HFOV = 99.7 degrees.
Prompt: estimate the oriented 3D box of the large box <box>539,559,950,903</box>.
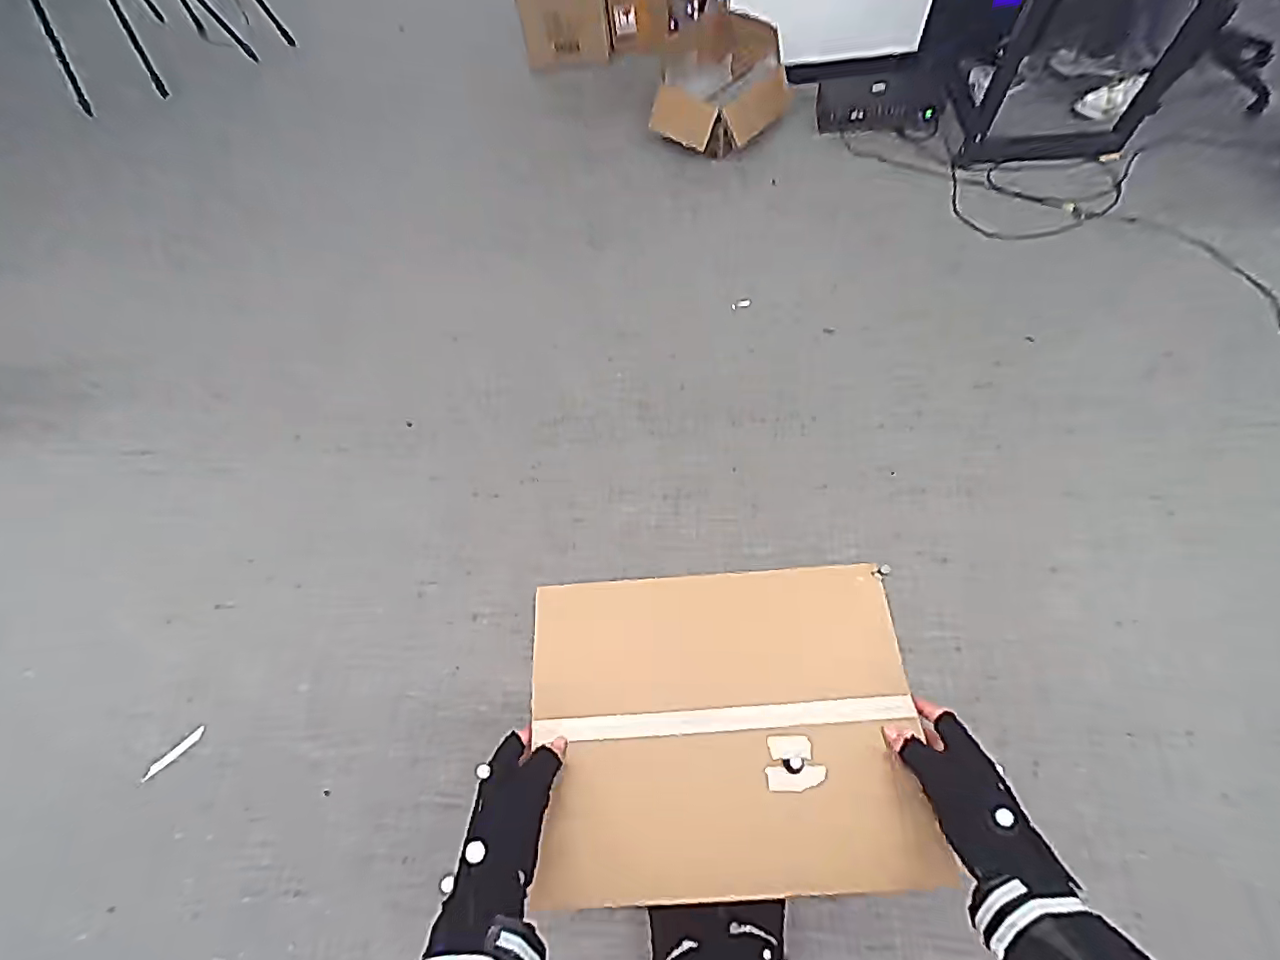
[{"bbox_3d":[0.095,0.313,0.713,0.408,0.320,0.320,-5,65,1],"label":"large box"}]
